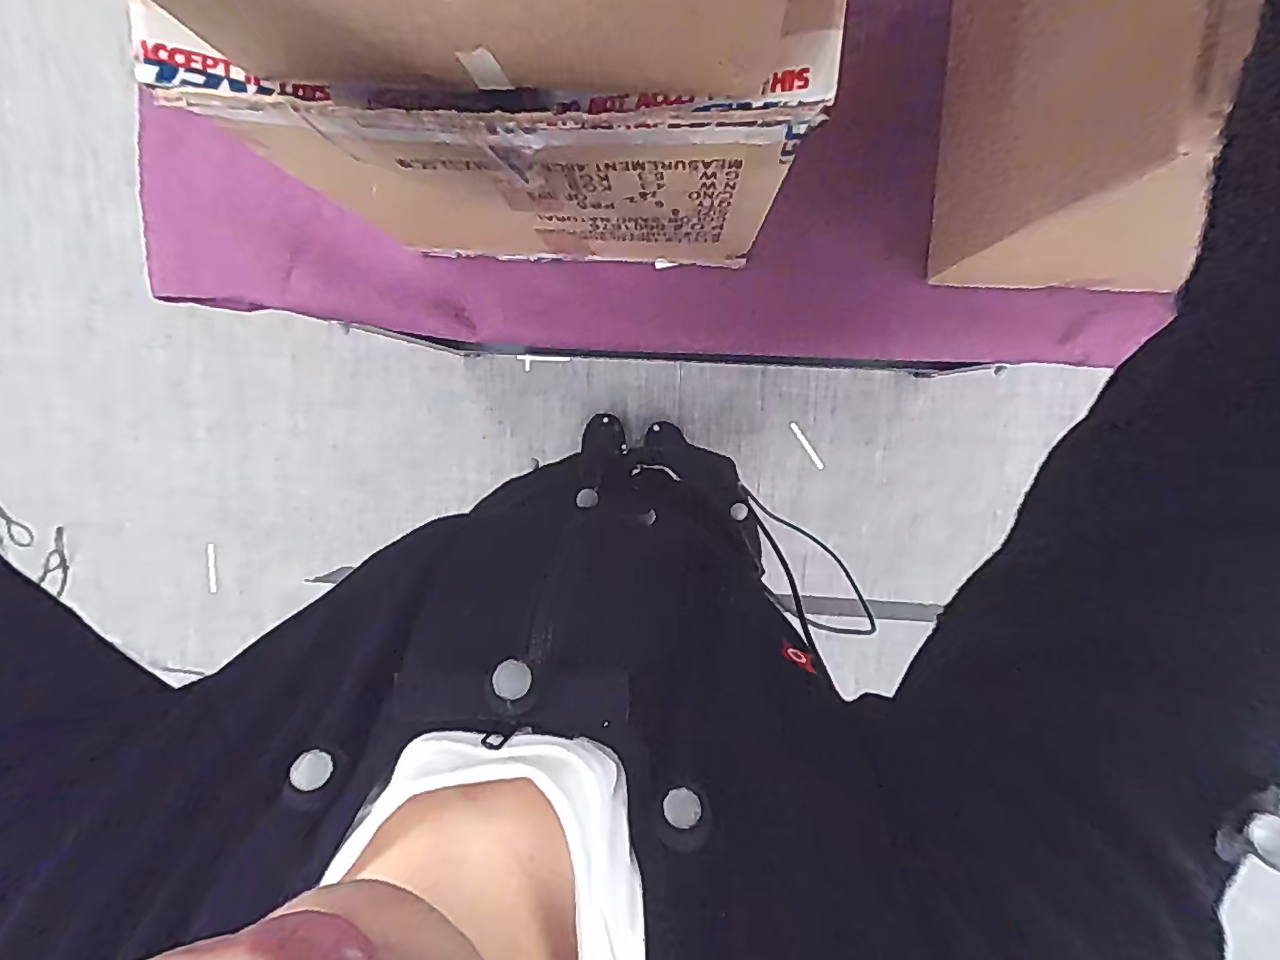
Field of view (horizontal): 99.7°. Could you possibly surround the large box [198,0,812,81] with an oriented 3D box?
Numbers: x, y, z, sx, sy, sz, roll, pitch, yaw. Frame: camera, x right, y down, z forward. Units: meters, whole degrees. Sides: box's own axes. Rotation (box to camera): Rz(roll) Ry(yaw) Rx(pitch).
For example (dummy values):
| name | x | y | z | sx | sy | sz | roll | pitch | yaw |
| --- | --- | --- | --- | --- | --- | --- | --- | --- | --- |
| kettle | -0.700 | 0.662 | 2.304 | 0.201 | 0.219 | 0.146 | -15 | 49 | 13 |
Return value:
| name | x | y | z | sx | sy | sz | roll | pitch | yaw |
| --- | --- | --- | --- | --- | --- | --- | --- | --- | --- |
| large box | -0.068 | -0.408 | 0.136 | 0.320 | 0.320 | 0.408 | 5 | 98 | 6 |
